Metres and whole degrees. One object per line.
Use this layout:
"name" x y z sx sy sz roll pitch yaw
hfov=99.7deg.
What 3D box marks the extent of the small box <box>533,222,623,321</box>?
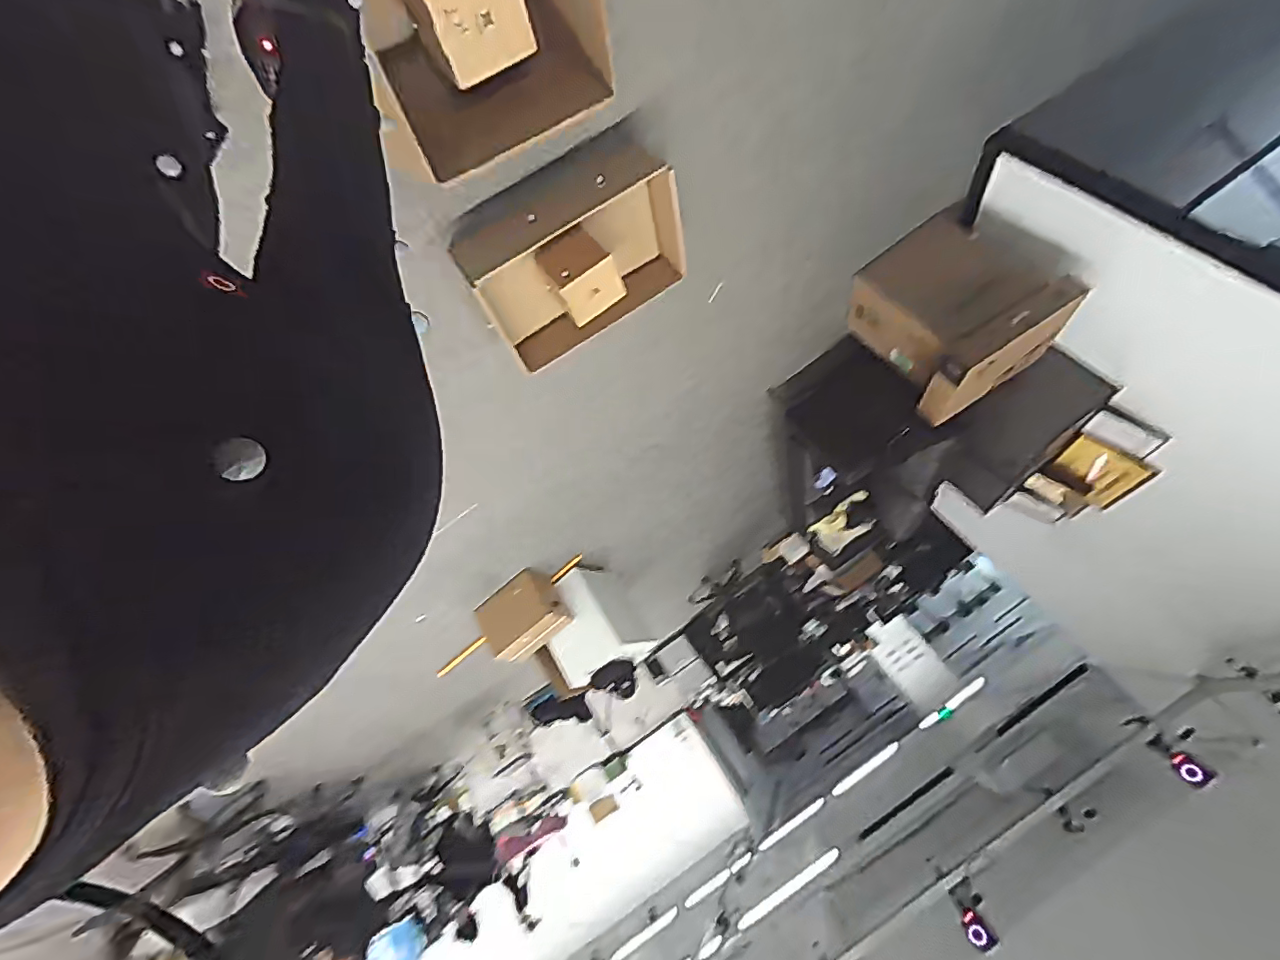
"small box" -0.180 -0.614 1.584 0.179 0.176 0.168 -36 154 -1
